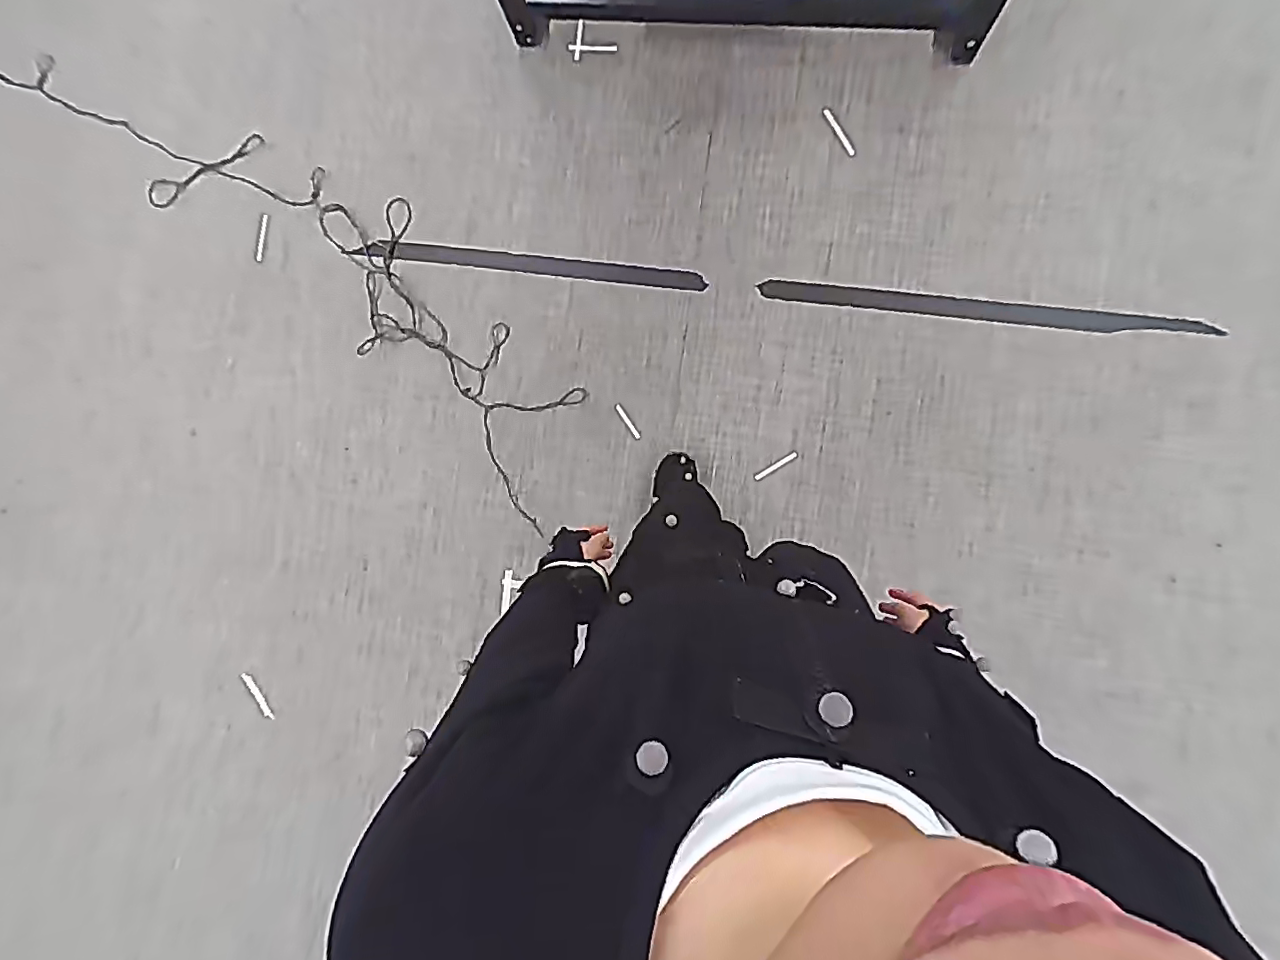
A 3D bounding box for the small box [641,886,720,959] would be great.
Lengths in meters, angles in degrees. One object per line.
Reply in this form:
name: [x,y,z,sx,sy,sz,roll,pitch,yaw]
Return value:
small box: [0.093,1.124,1.286,0.179,0.176,0.168,8,89,8]
